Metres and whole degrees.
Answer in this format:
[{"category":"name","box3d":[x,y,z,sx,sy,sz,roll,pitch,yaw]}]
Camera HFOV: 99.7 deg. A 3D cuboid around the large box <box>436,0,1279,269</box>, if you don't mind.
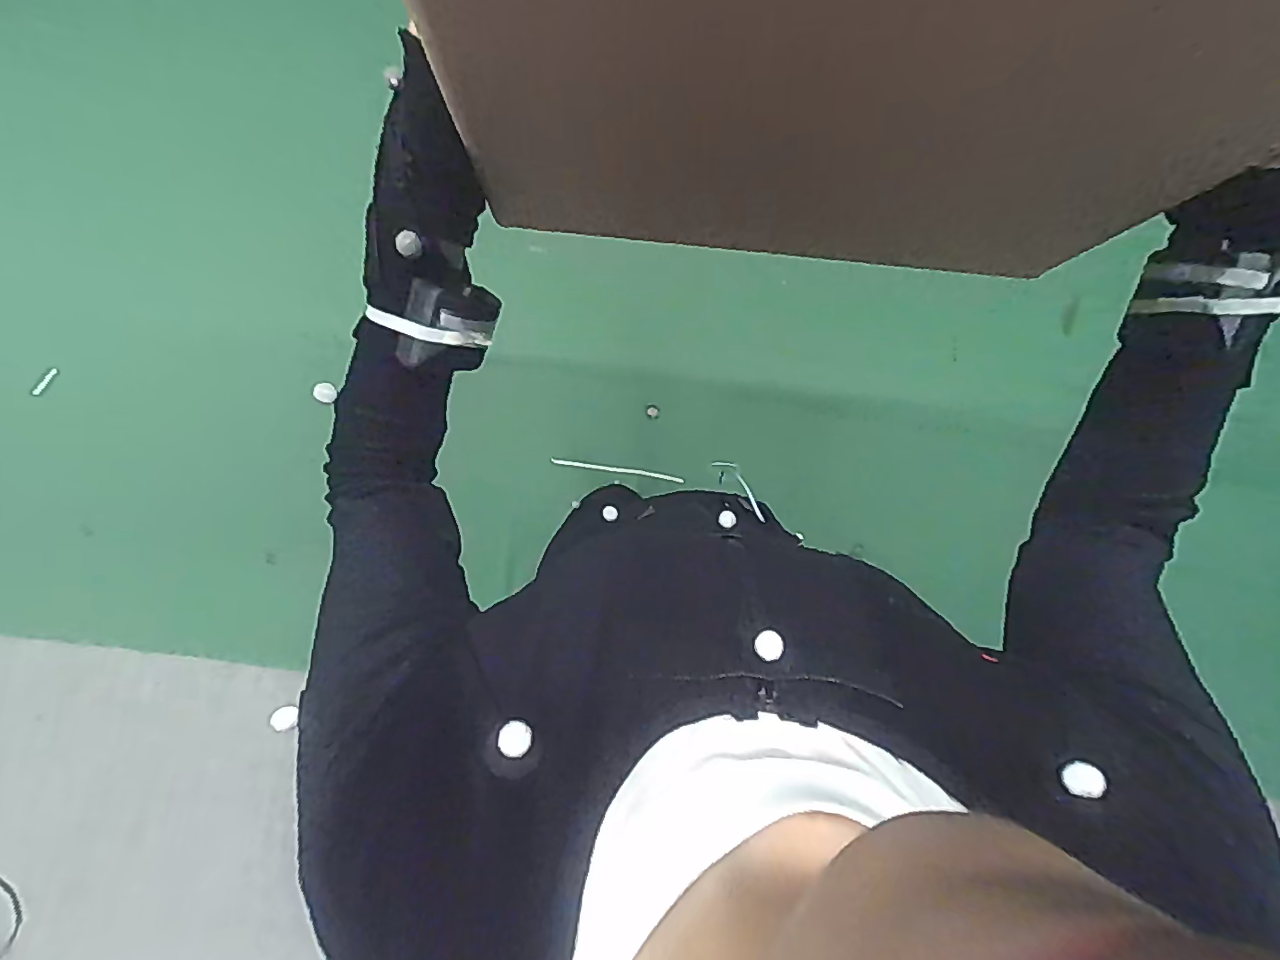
[{"category":"large box","box3d":[0.119,-0.327,0.256,0.408,0.320,0.320,5,88,-4]}]
